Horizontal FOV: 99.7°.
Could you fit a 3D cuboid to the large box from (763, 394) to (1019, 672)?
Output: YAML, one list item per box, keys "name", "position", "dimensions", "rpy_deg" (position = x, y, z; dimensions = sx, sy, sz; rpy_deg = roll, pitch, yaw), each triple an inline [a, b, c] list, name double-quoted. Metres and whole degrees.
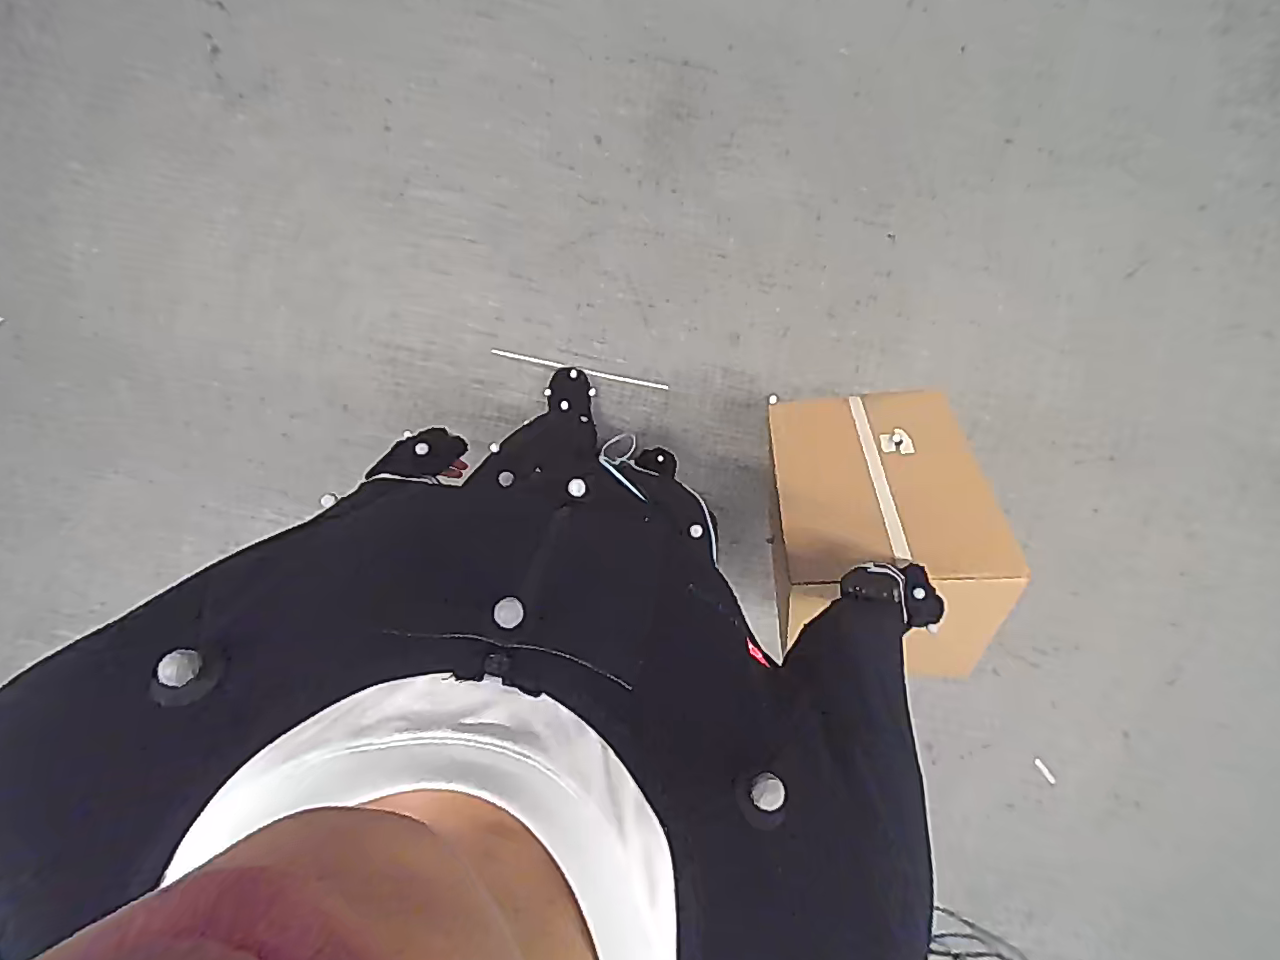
- name: "large box"
  position: [0.406, 0.097, 0.998]
  dimensions: [0.320, 0.408, 0.320]
  rpy_deg: [-3, 136, 9]
